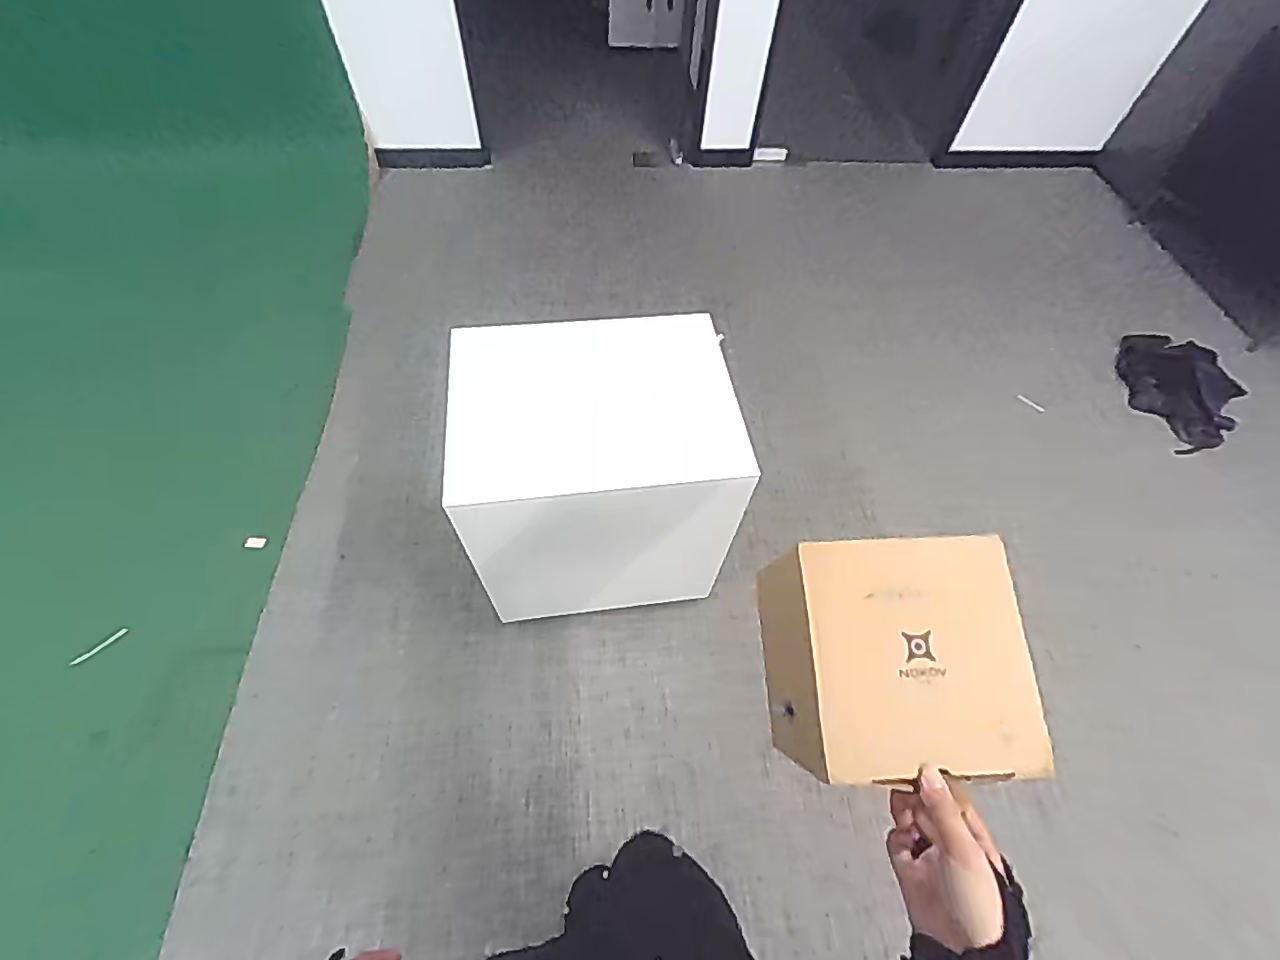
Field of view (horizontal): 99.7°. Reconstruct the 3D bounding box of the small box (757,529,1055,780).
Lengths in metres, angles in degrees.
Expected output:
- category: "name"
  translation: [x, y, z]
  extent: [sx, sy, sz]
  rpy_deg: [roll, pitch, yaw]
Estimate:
- category: "small box"
  translation: [0.209, 0.150, 0.482]
  extent: [0.168, 0.176, 0.179]
  rpy_deg: [-3, 71, -1]
